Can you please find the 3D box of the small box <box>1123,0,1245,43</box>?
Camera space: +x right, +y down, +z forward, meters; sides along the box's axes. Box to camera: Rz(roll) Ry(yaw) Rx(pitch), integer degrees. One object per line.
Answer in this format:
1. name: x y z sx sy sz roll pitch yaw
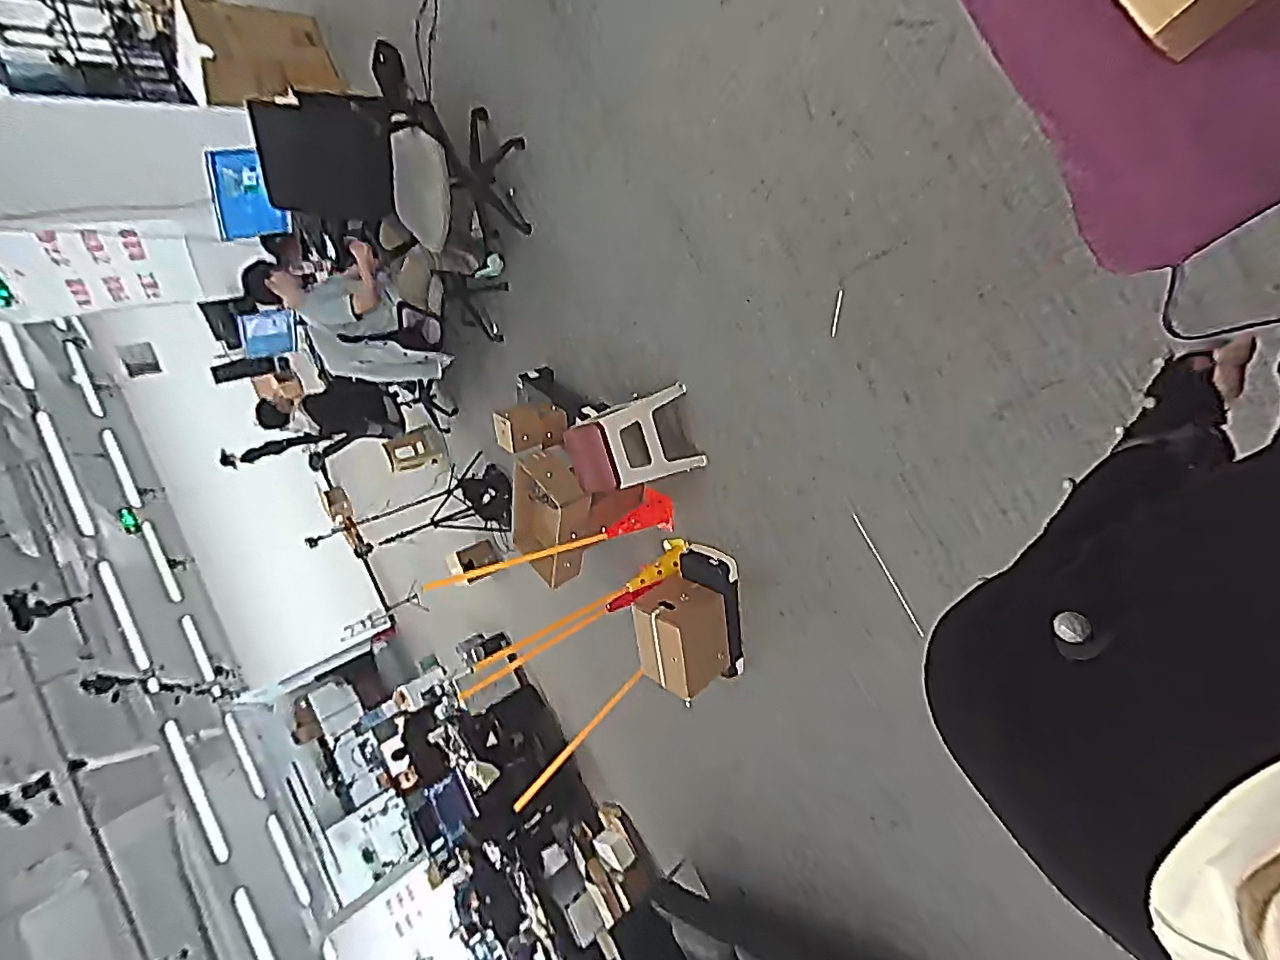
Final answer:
1. small box: 0.505 -0.528 0.471 0.179 0.176 0.168 60 144 7
